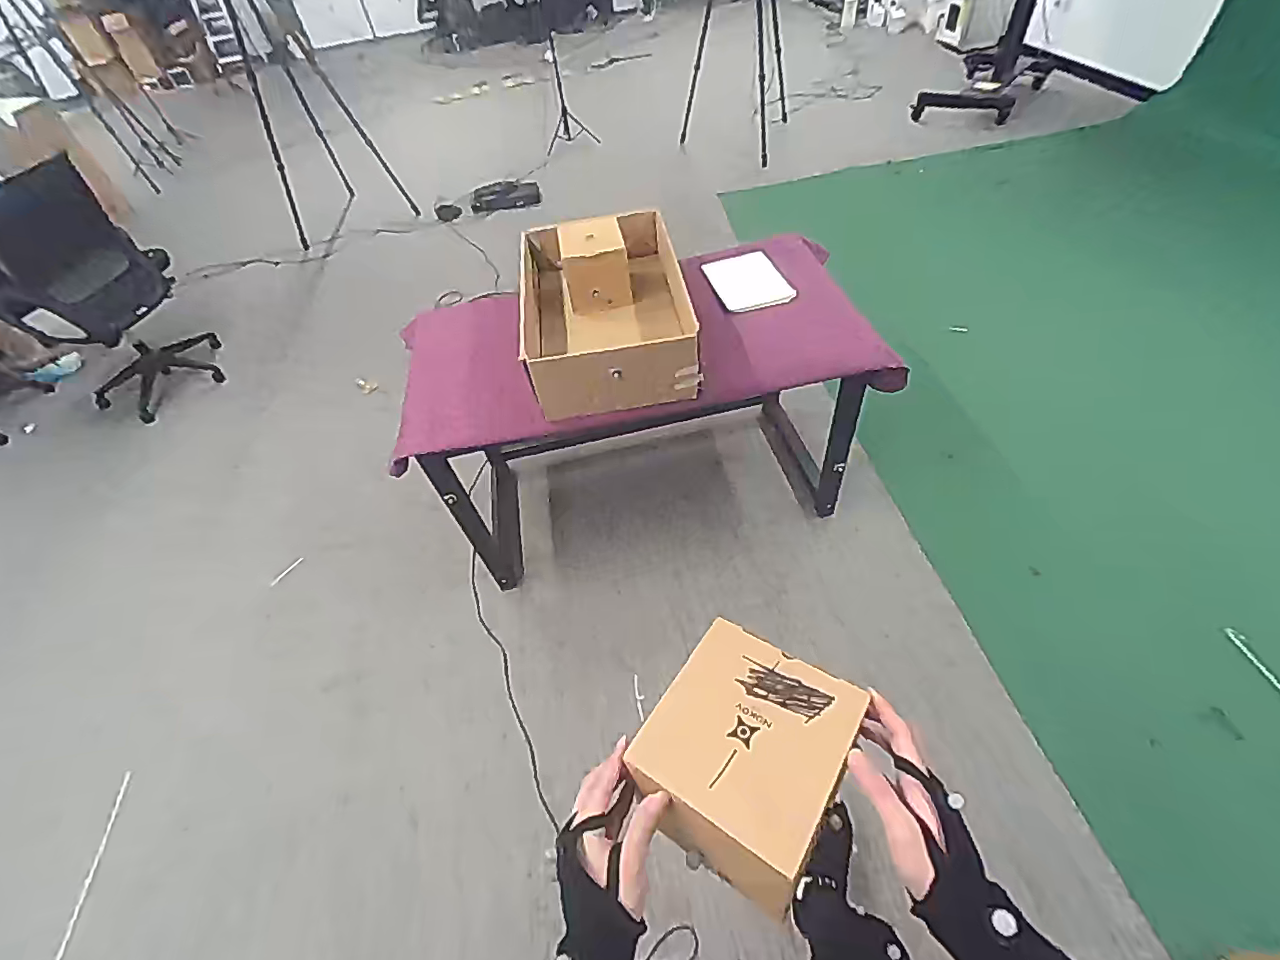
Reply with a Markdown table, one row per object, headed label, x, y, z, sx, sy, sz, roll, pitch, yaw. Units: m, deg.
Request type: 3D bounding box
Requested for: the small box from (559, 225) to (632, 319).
| label | x | y | z | sx | sy | sz | roll | pitch | yaw |
| --- | --- | --- | --- | --- | --- | --- | --- | --- | --- |
| small box | -0.122 | -0.568 | 1.481 | 0.168 | 0.176 | 0.179 | -11 | 51 | -2 |
